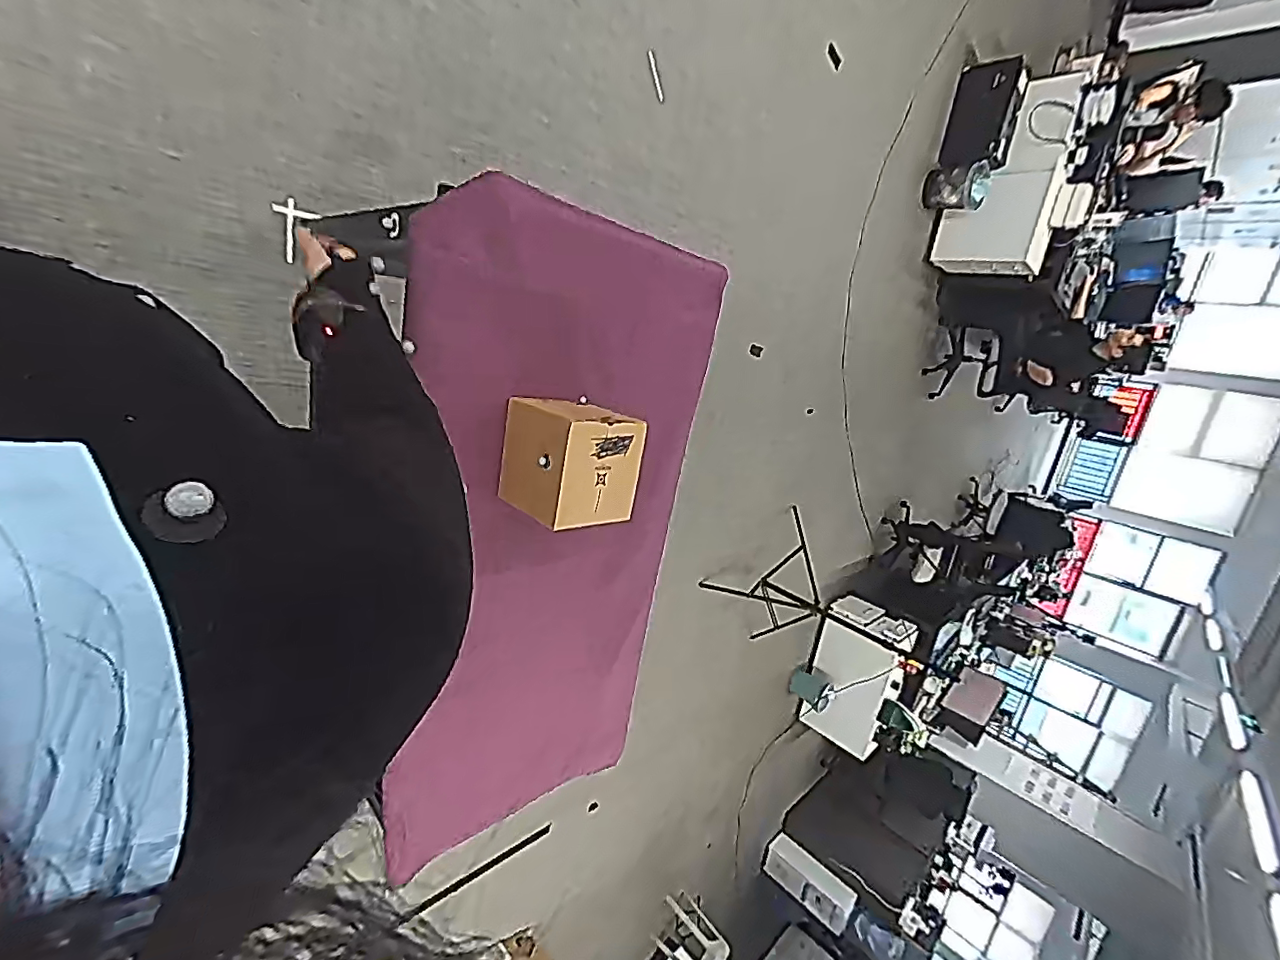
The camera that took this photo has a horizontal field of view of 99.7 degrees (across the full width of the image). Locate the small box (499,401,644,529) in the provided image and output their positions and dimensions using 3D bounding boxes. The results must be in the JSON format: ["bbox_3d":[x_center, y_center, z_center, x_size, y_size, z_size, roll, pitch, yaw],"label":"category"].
[{"bbox_3d":[-0.121,-0.032,0.916,0.168,0.176,0.179,-4,110,-46],"label":"small box"}]
